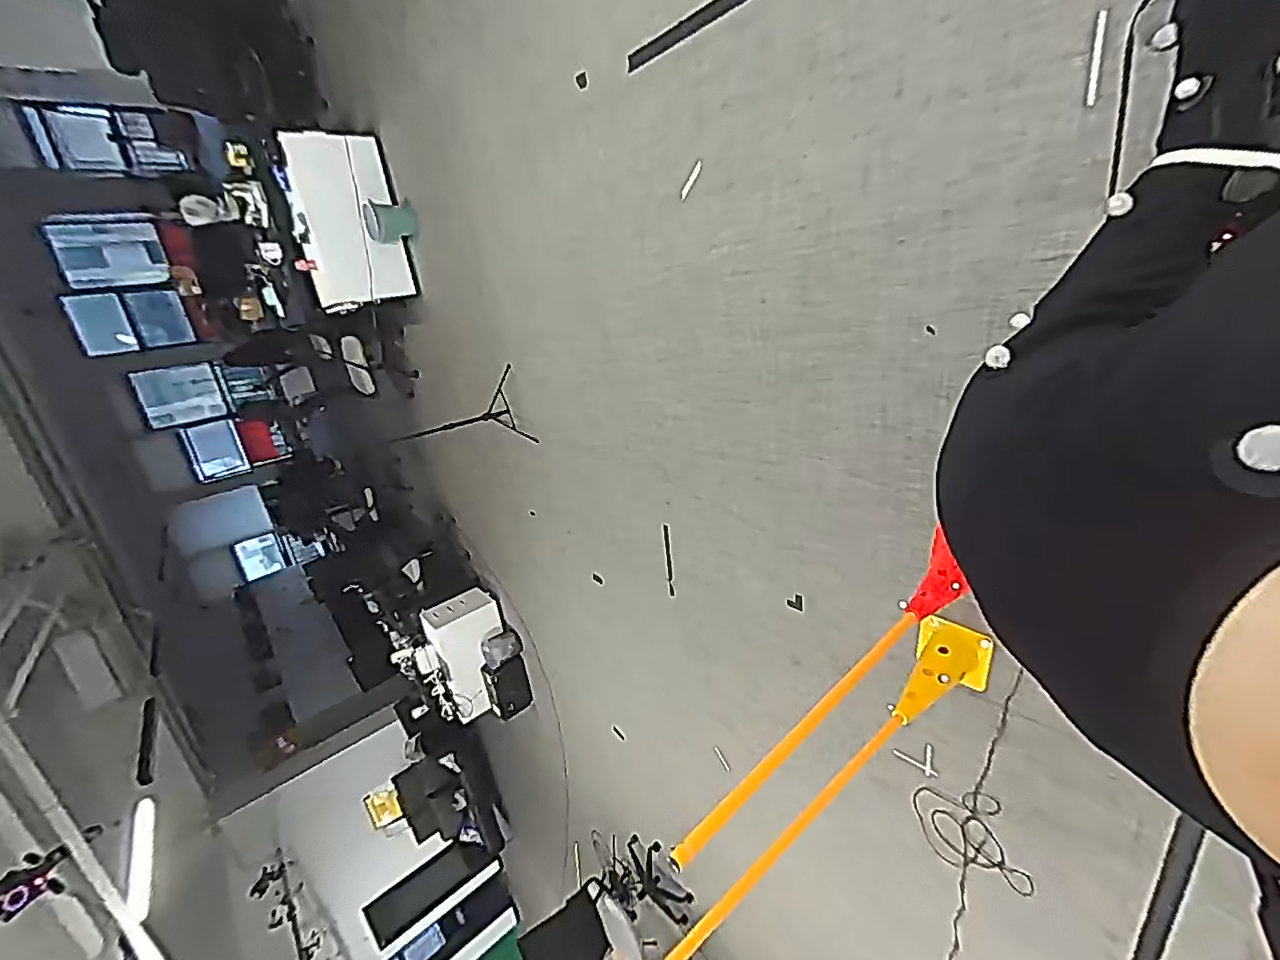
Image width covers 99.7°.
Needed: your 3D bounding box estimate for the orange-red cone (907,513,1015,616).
[{"bbox_3d":[0.791,0.255,1.408,0.198,0.360,0.199,24,126,43],"label":"orange-red cone"}]
